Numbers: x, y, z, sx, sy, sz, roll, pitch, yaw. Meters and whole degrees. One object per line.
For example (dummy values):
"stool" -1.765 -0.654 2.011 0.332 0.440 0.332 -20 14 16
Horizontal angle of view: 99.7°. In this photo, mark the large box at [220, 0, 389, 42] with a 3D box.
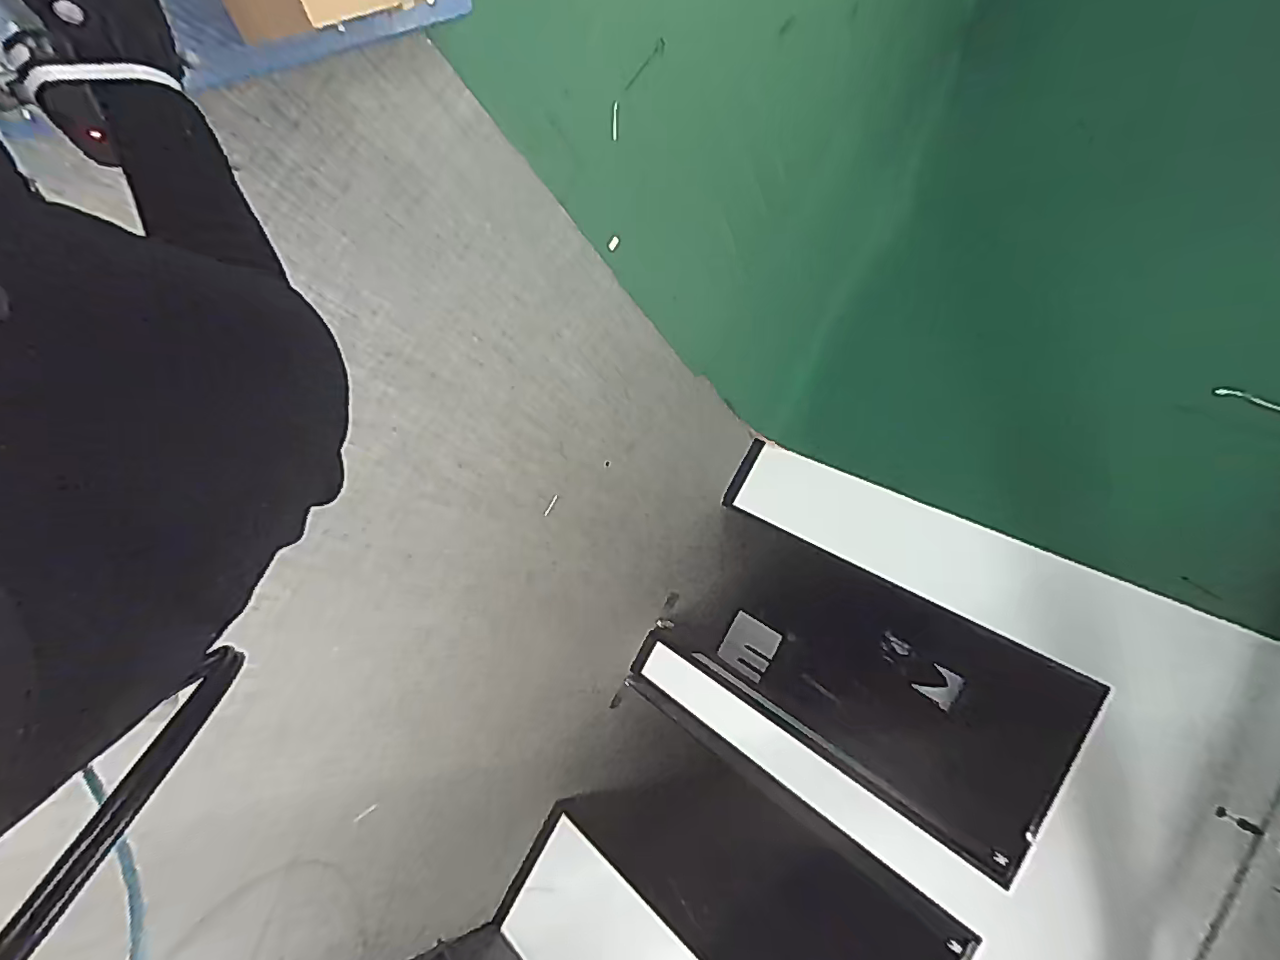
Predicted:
"large box" -0.512 -0.917 0.758 0.320 0.320 0.408 -44 140 -25
